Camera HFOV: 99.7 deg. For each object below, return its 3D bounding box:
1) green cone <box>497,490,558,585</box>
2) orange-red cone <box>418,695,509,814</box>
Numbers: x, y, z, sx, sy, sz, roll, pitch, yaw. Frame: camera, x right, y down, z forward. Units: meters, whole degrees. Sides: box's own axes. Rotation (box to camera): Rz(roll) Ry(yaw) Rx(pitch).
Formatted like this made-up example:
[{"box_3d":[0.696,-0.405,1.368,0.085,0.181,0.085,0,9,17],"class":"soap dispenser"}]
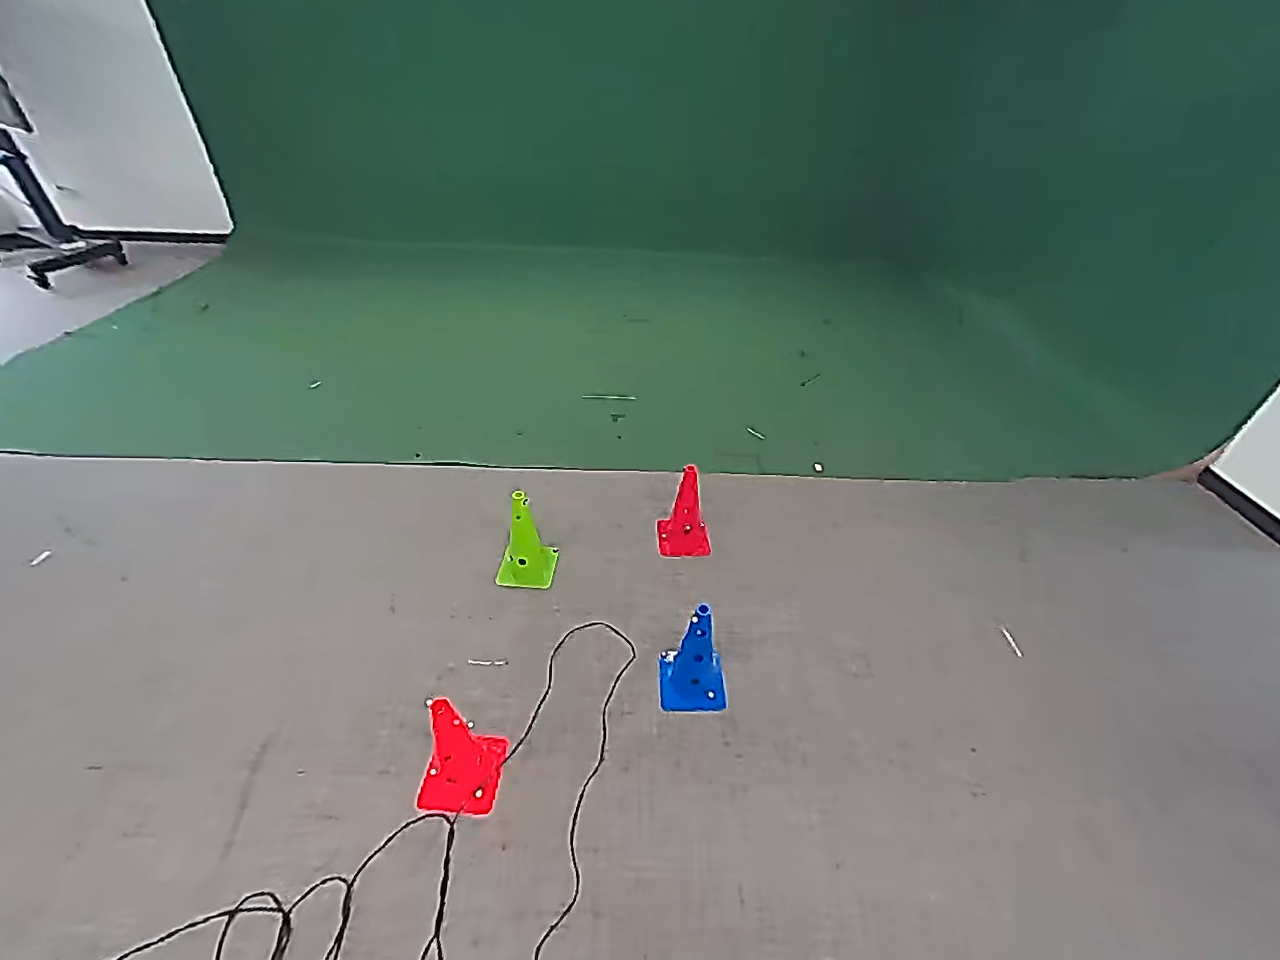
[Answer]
[{"box_3d":[-0.412,0.178,1.901,0.200,0.368,0.202,3,40,1],"class":"green cone"},{"box_3d":[-0.457,0.640,1.336,0.198,0.360,0.199,5,38,2],"class":"orange-red cone"}]
